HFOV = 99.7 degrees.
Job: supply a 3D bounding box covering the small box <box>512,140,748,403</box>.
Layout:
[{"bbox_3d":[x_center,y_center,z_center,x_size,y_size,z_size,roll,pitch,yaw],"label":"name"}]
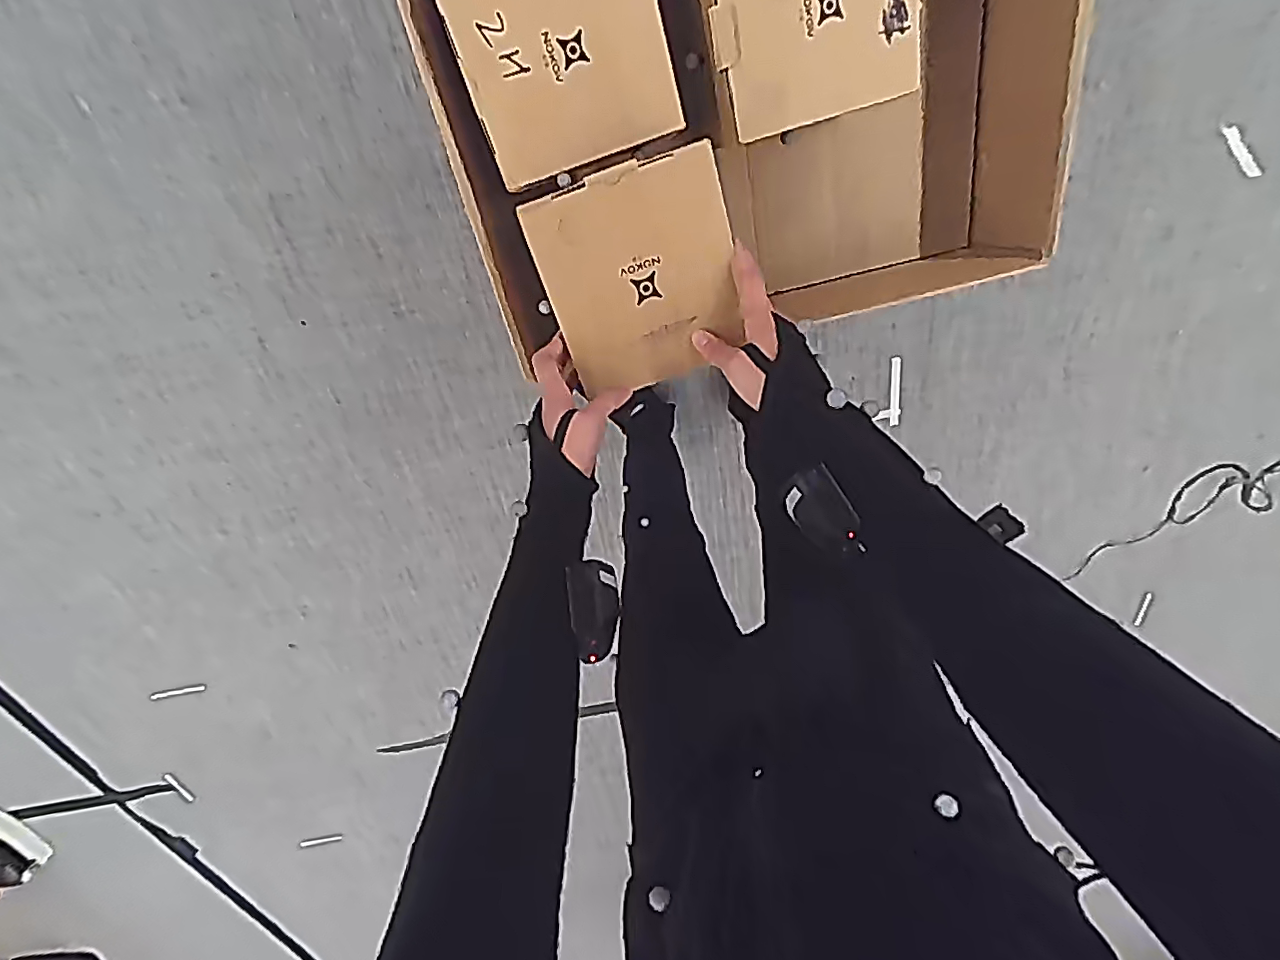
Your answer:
[{"bbox_3d":[-0.012,-0.201,0.533,0.168,0.176,0.179,-19,116,2],"label":"small box"}]
